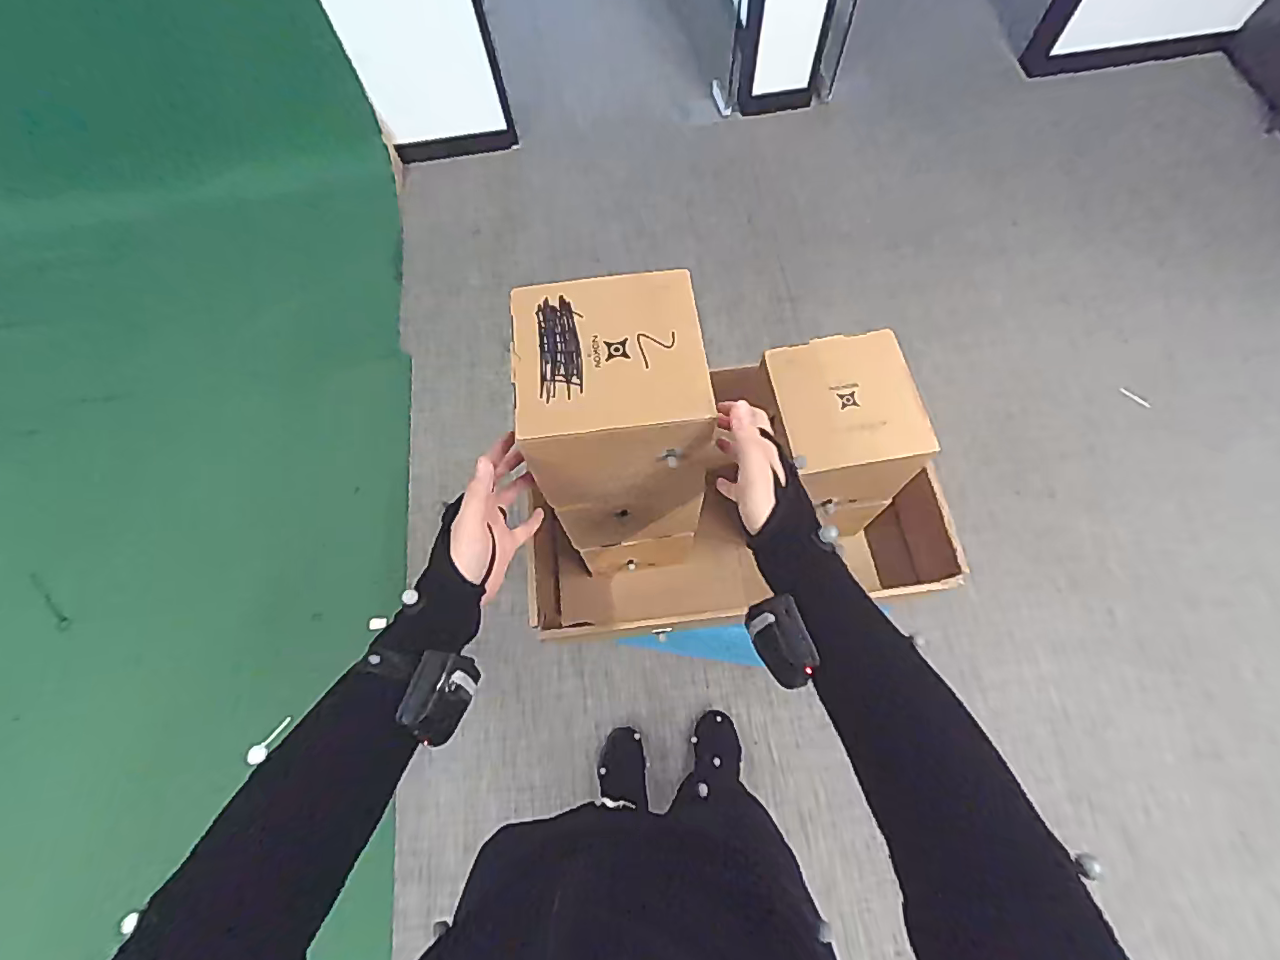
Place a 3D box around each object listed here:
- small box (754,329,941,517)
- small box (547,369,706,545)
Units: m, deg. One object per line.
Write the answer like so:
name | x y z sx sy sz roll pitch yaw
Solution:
small box | 0.255 -0.068 0.716 0.168 0.176 0.179 -9 67 1
small box | -0.016 -0.021 0.711 0.179 0.176 0.168 -8 68 -1
